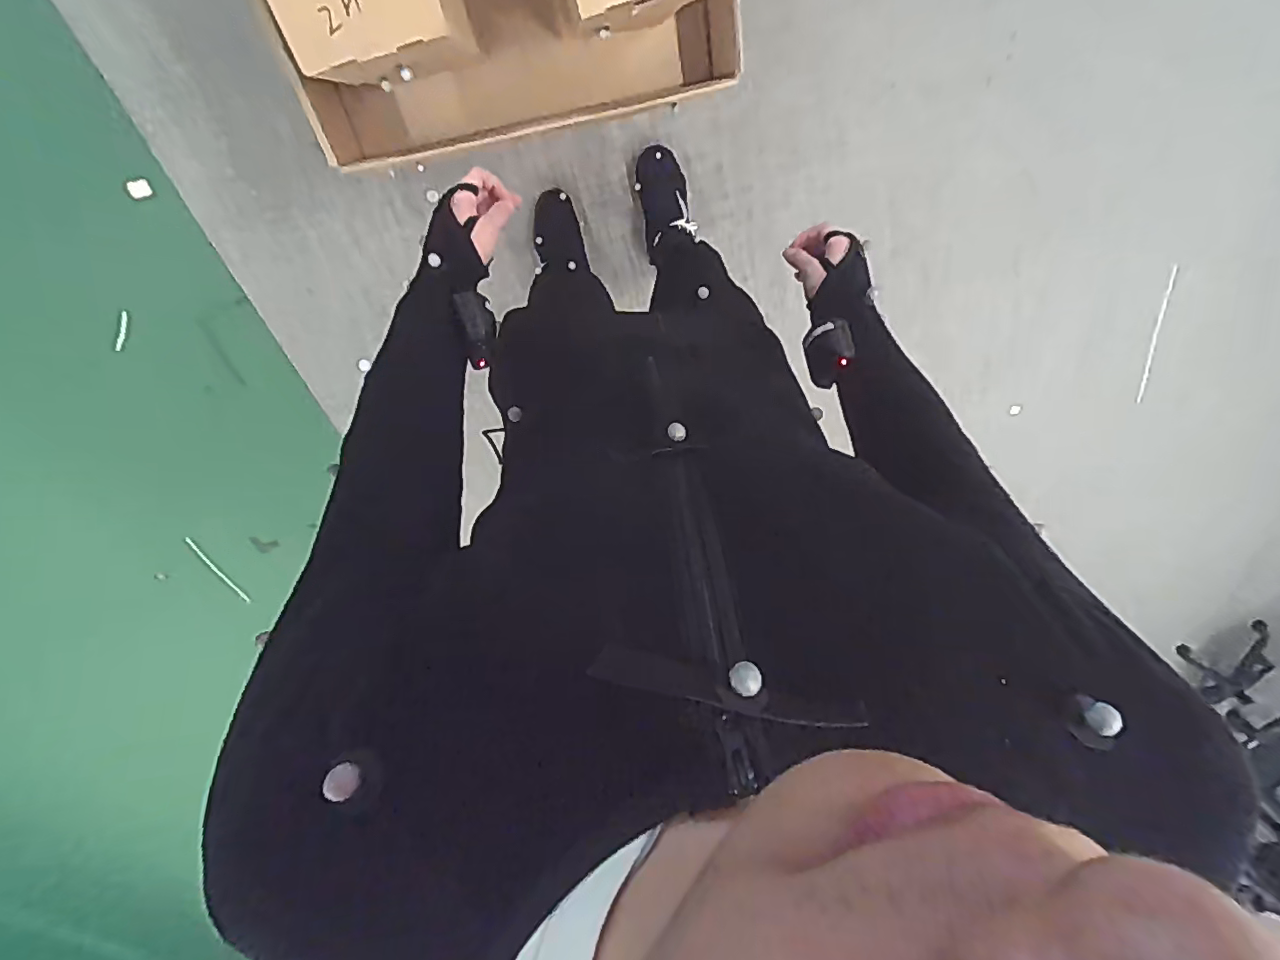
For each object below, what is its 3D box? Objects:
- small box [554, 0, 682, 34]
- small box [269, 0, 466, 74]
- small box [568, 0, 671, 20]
[{"bbox_3d":[-0.044,-0.723,0.715,0.168,0.176,0.179,-11,125,-1],"label":"small box"},{"bbox_3d":[-0.305,-0.566,0.581,0.168,0.176,0.179,-14,124,2],"label":"small box"},{"bbox_3d":[-0.015,-0.628,0.584,0.168,0.176,0.179,-15,125,1],"label":"small box"}]
